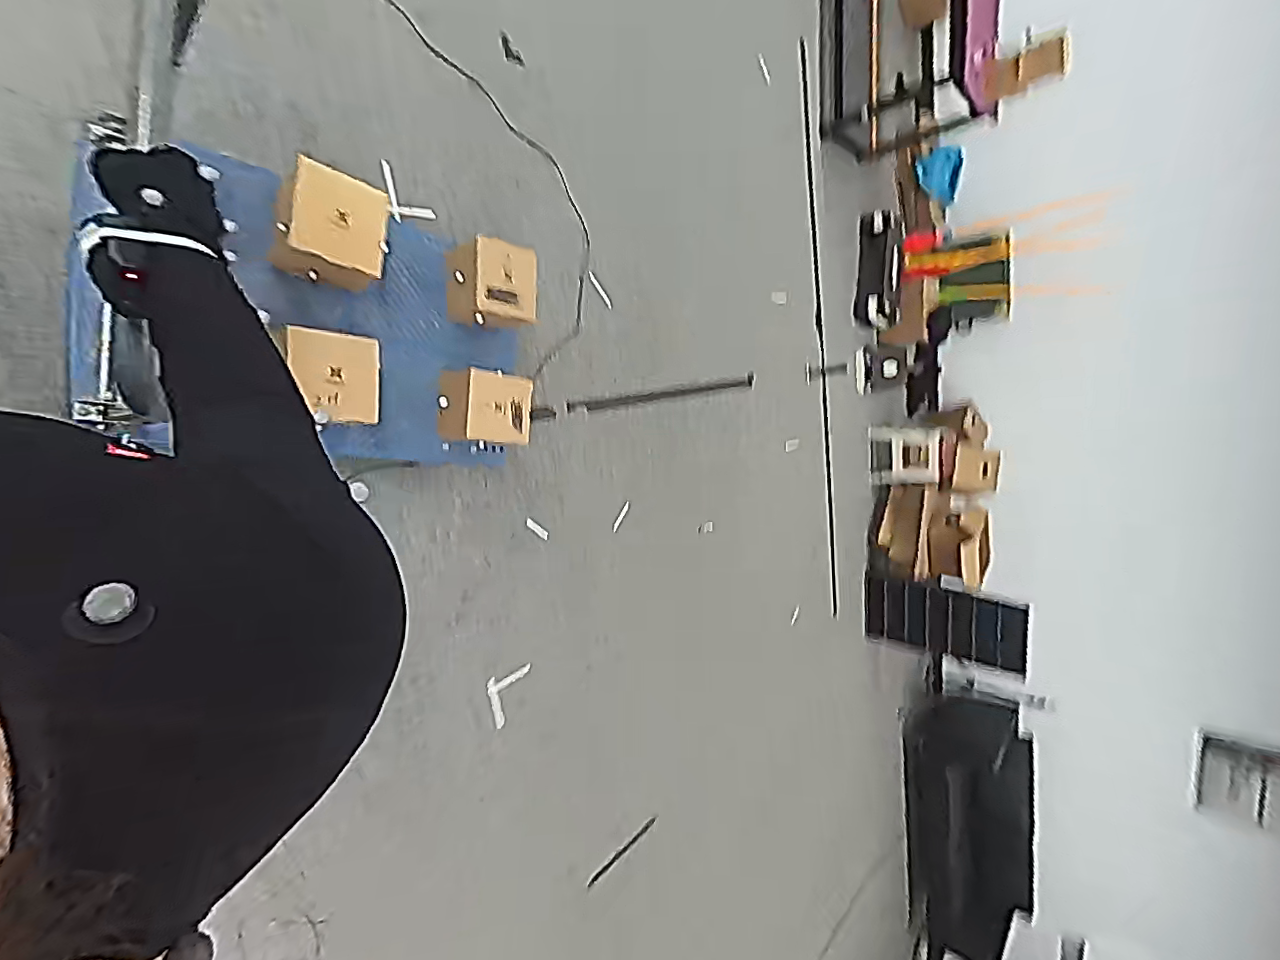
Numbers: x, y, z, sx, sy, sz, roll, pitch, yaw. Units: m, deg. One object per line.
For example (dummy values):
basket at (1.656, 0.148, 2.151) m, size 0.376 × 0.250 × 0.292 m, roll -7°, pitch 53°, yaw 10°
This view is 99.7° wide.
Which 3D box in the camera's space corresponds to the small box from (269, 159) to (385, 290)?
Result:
small box at (-0.650, -0.515, 1.121) m, size 0.168 × 0.176 × 0.179 m, roll 5°, pitch 90°, yaw -46°

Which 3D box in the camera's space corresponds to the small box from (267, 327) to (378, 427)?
small box at (-0.663, -0.206, 1.128) m, size 0.168 × 0.176 × 0.179 m, roll -2°, pitch 94°, yaw -45°

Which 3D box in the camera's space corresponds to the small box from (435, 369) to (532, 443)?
small box at (-0.404, -0.185, 1.394) m, size 0.179 × 0.176 × 0.168 m, roll 3°, pitch 91°, yaw -45°
